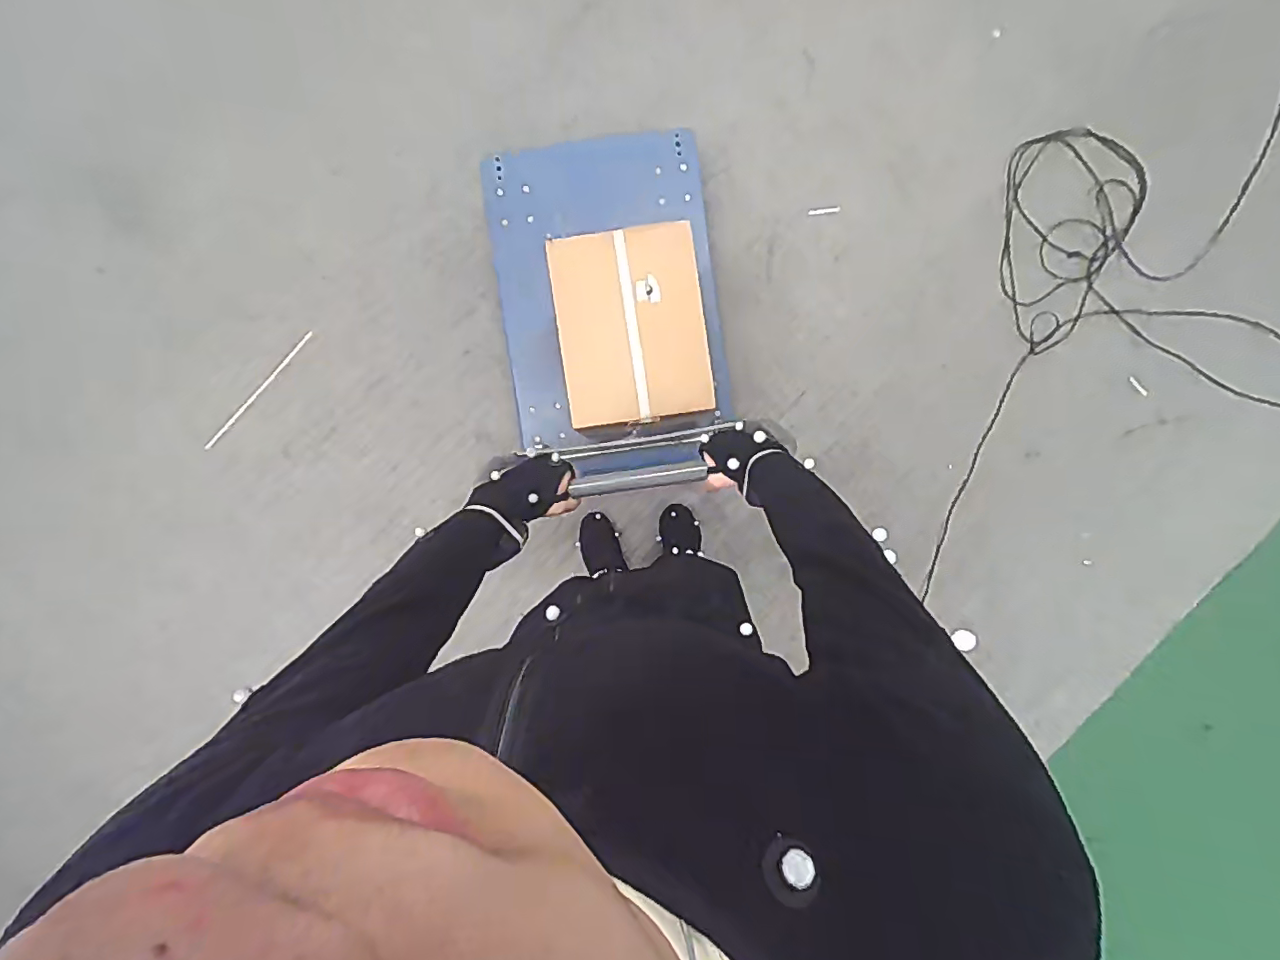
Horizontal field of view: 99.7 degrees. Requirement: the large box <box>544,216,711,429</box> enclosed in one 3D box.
[{"bbox_3d":[-0.027,-0.352,1.309,0.320,0.320,0.408,-8,91,-1],"label":"large box"}]
